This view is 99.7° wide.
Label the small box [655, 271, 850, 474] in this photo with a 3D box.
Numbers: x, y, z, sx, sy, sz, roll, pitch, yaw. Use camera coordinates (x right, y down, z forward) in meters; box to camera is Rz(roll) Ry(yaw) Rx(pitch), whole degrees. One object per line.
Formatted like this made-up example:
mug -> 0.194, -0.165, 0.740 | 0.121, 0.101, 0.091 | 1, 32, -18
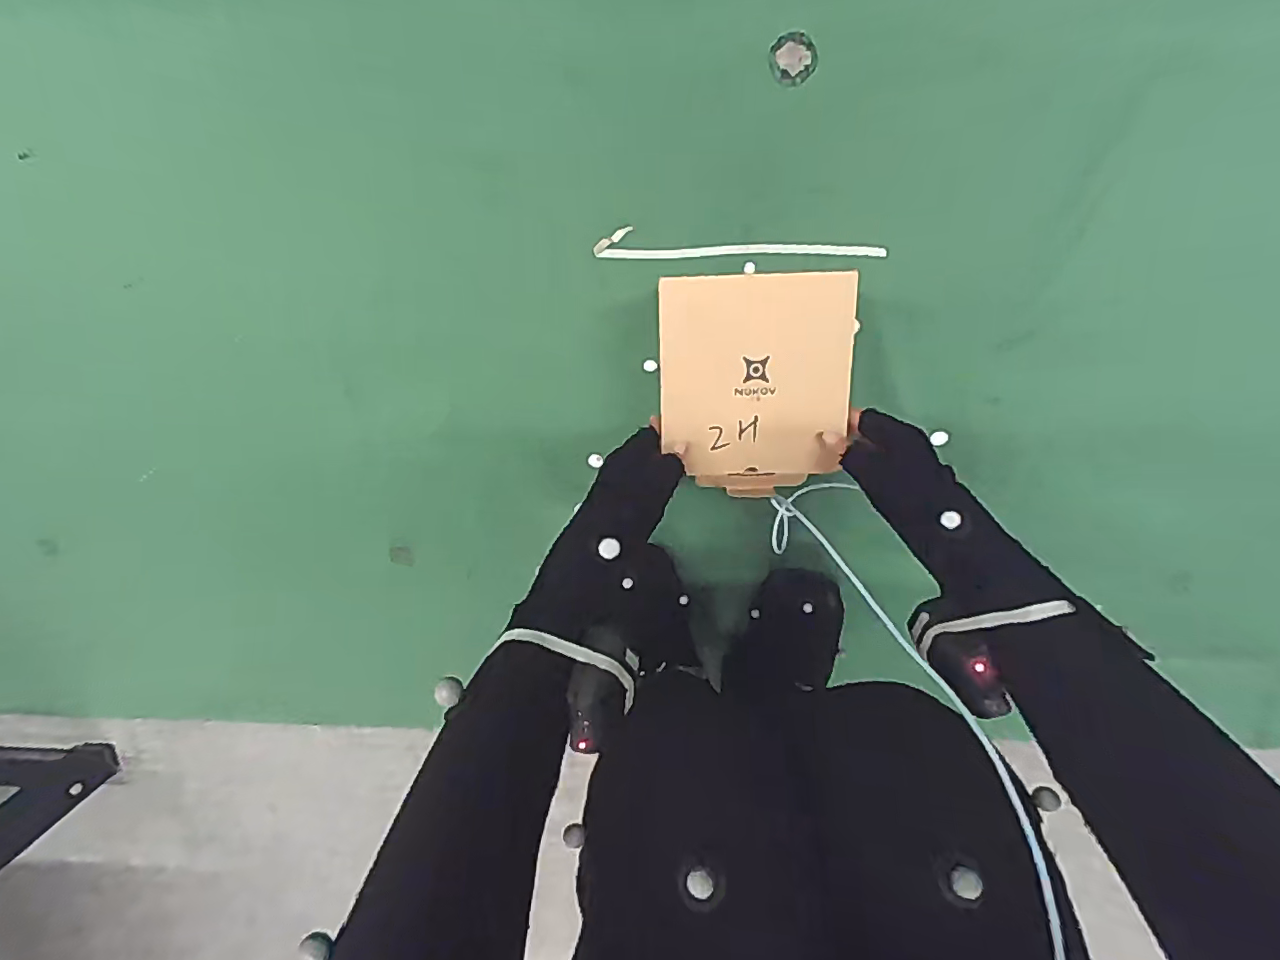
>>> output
small box -> 0.099, -0.112, 0.552 | 0.168, 0.176, 0.179 | -1, 107, 3
